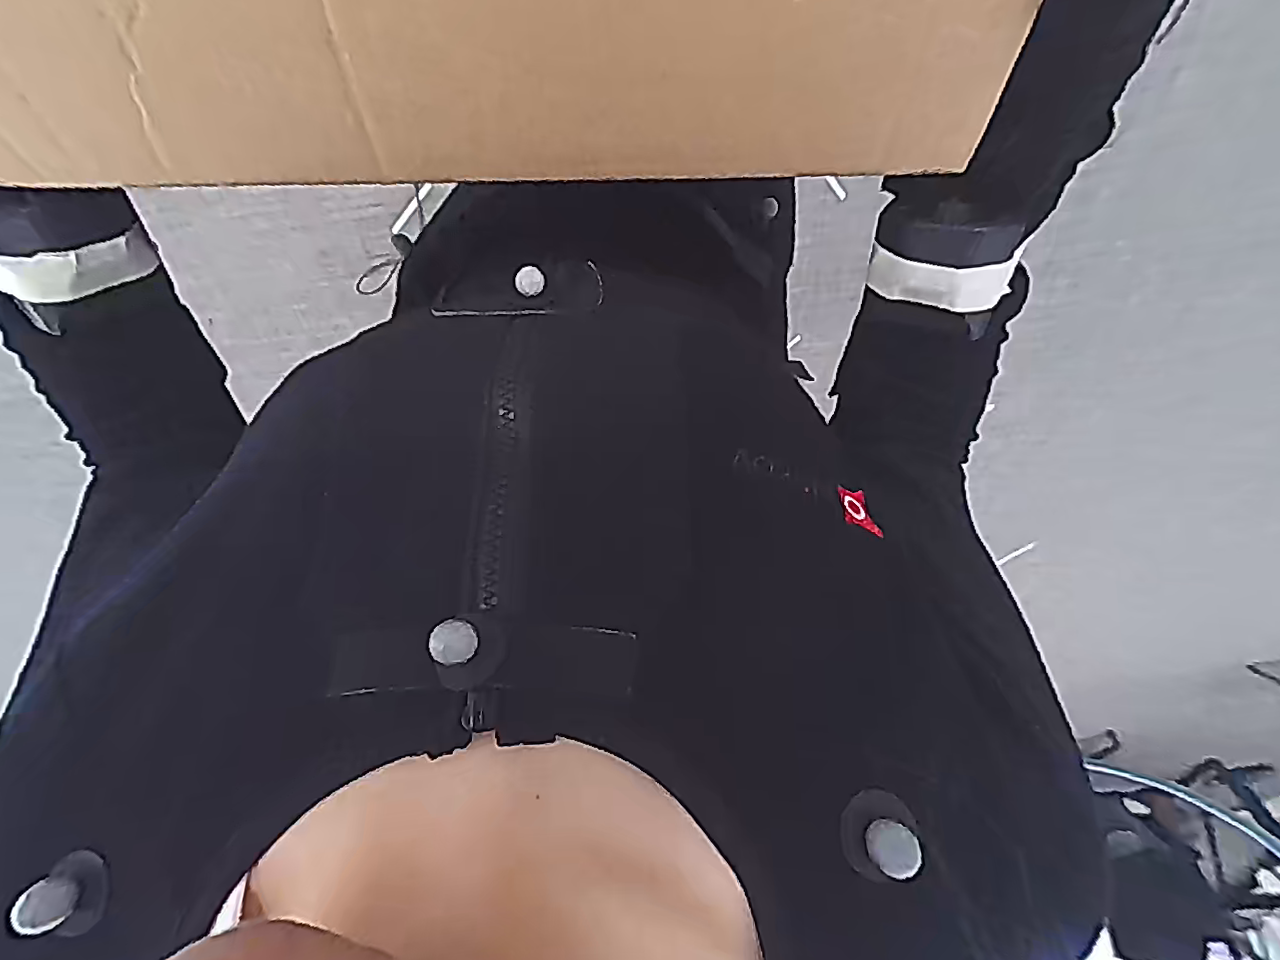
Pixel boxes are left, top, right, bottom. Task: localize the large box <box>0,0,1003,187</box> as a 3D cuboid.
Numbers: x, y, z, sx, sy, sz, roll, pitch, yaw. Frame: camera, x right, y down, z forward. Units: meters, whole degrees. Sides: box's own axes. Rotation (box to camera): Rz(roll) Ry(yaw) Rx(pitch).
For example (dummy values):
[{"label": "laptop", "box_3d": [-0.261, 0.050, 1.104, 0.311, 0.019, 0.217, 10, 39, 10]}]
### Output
[{"label": "large box", "box_3d": [-0.071, -0.343, 0.203, 0.408, 0.320, 0.320, -1, 142, -1]}]
